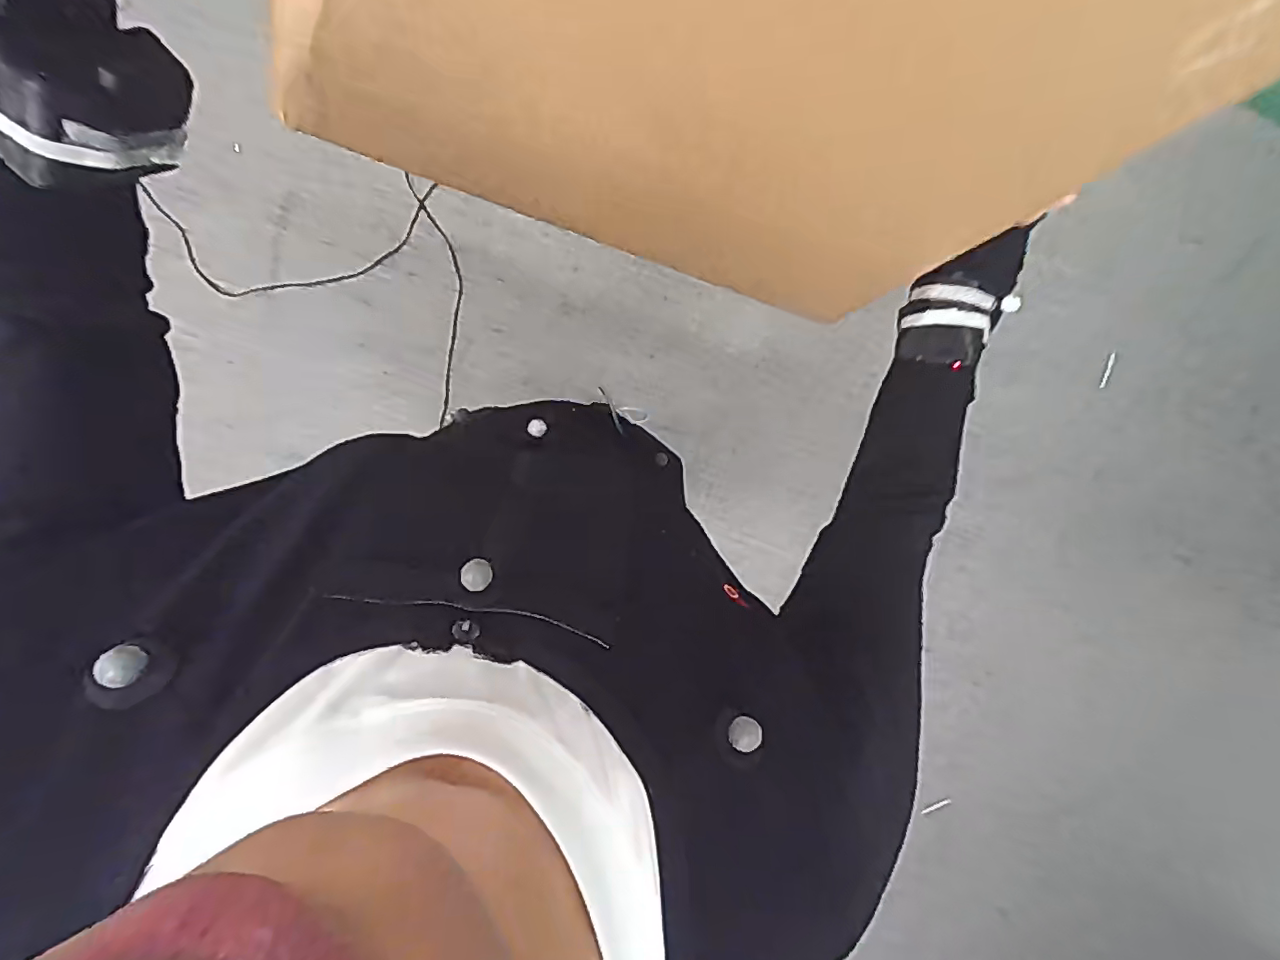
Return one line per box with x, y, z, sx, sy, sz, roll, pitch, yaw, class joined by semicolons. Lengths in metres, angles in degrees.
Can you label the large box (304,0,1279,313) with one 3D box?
0.084;-0.328;0.269;0.408;0.320;0.320;2;75;-41;large box
